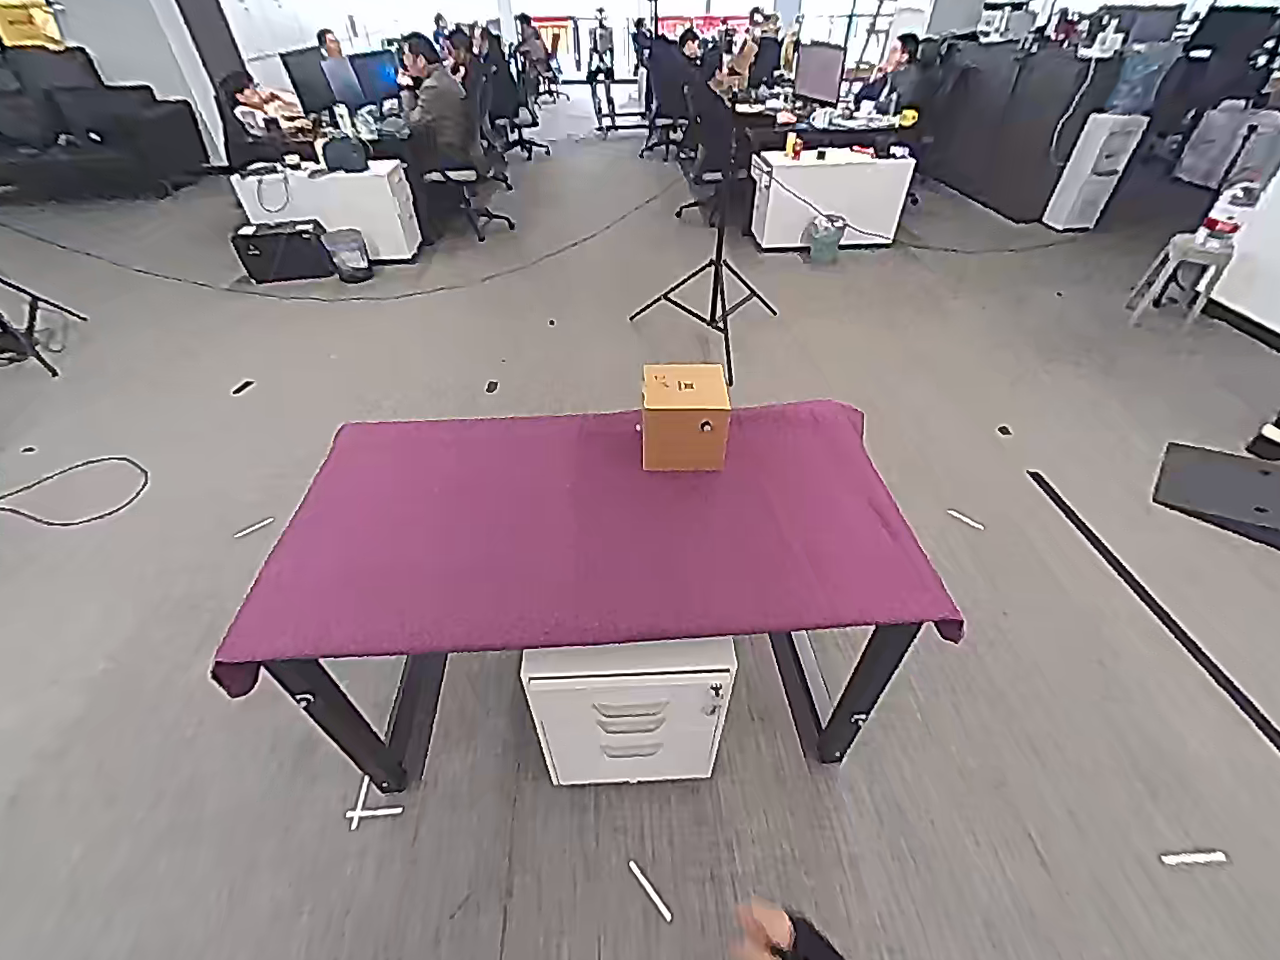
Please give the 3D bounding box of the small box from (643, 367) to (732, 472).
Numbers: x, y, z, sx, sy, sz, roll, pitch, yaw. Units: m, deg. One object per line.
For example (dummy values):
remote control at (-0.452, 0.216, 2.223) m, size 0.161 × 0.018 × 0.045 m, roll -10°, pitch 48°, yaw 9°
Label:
small box at (0.096, -0.130, 1.178) m, size 0.179 × 0.176 × 0.168 m, roll -1°, pitch 43°, yaw 1°
